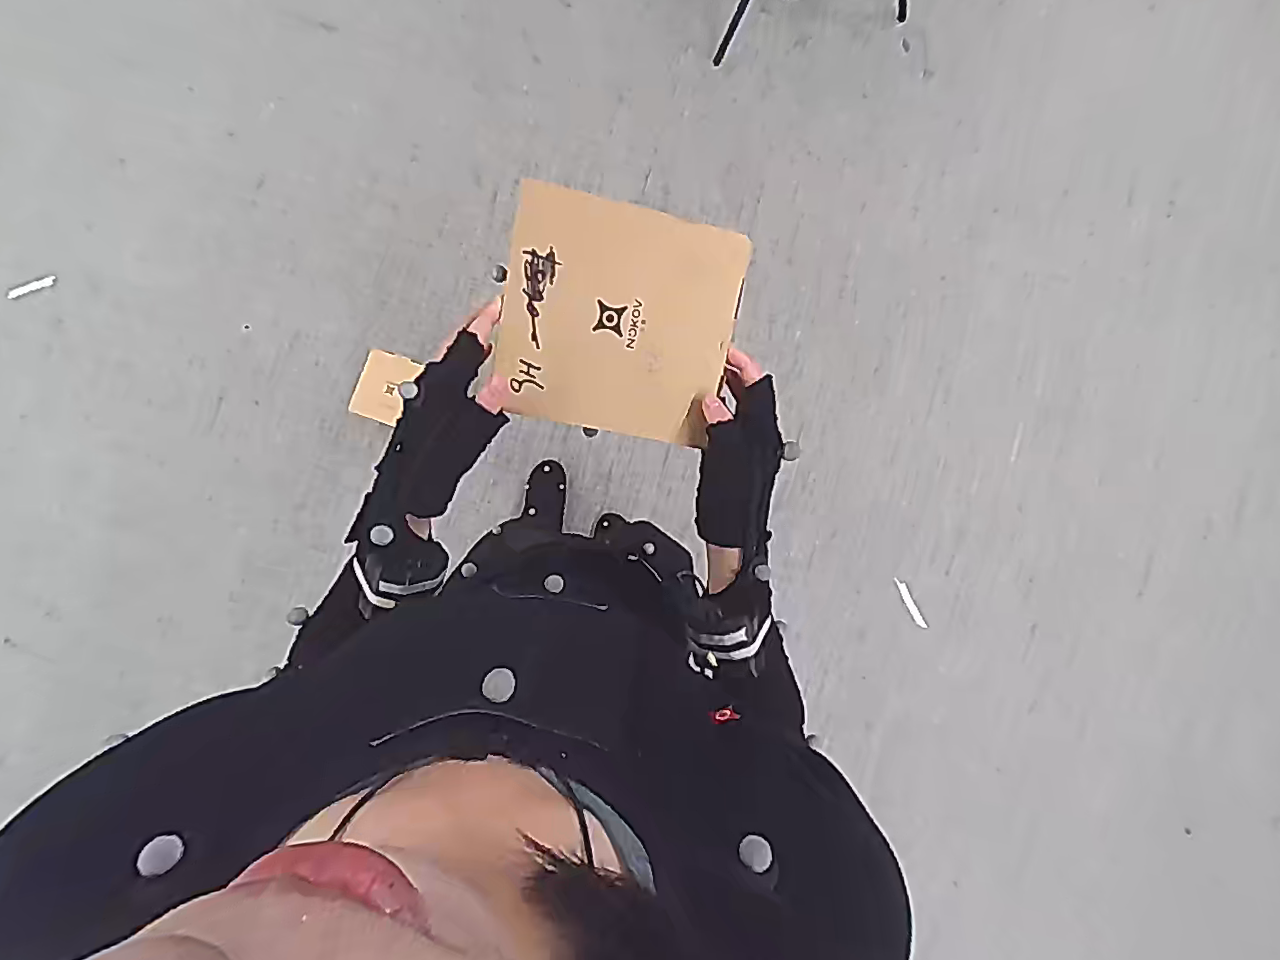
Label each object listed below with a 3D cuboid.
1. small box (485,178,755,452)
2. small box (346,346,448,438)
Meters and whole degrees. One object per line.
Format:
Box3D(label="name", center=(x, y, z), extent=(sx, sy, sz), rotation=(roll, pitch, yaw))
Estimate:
Box3D(label="small box", center=(-0.026, -0.128, 0.475), extent=(0.179, 0.176, 0.168), rotation=(10, 96, -11))
Box3D(label="small box", center=(-0.631, -0.225, 1.432), extent=(0.168, 0.176, 0.179), rotation=(20, 88, 0))
